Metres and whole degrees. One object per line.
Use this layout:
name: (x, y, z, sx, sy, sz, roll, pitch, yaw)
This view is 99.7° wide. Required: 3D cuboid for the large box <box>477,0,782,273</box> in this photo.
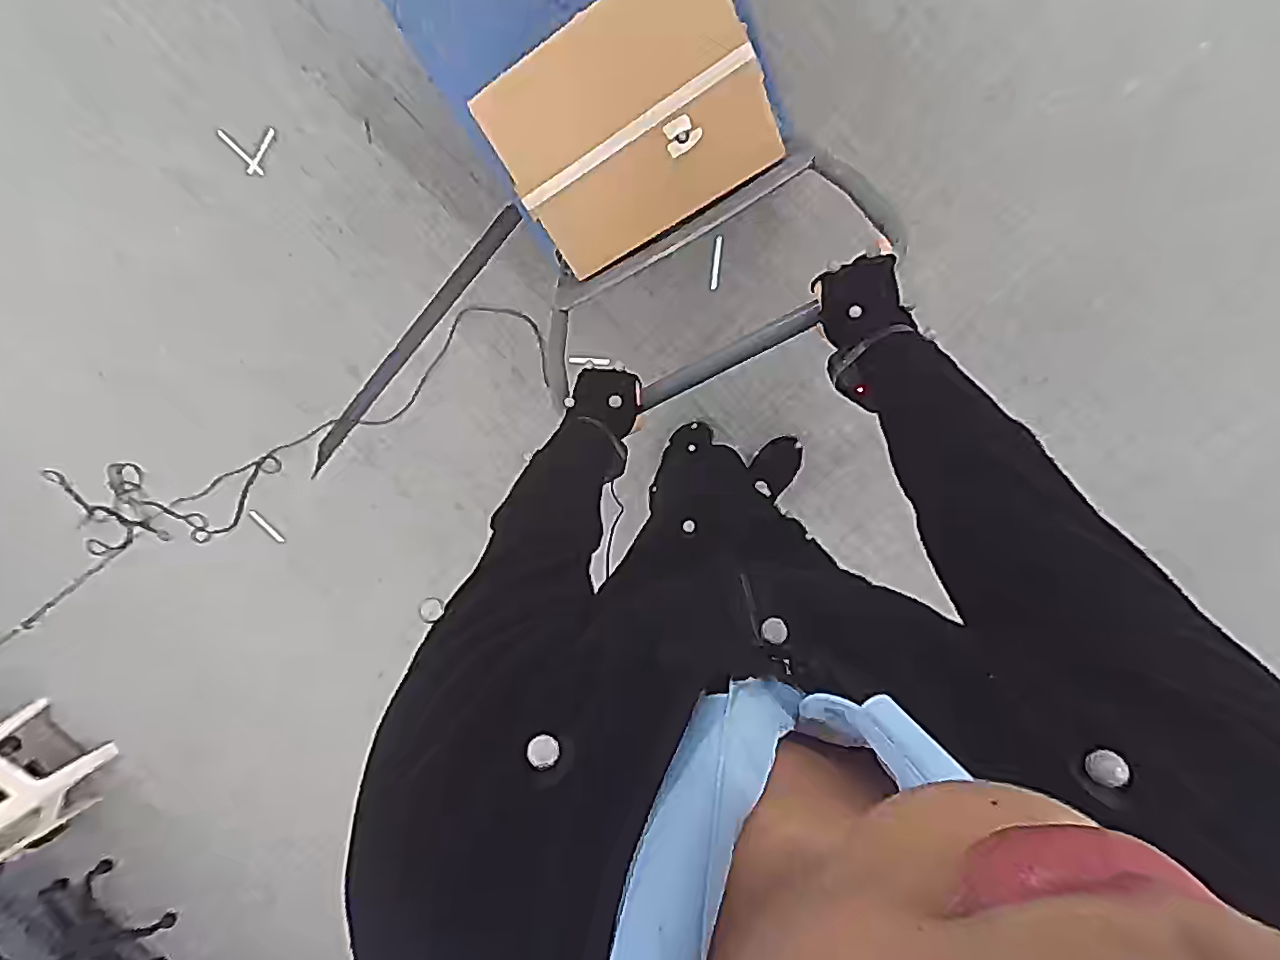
large box: (-0.018, -0.653, 0.980, 0.408, 0.320, 0.320, -27, 124, 16)
